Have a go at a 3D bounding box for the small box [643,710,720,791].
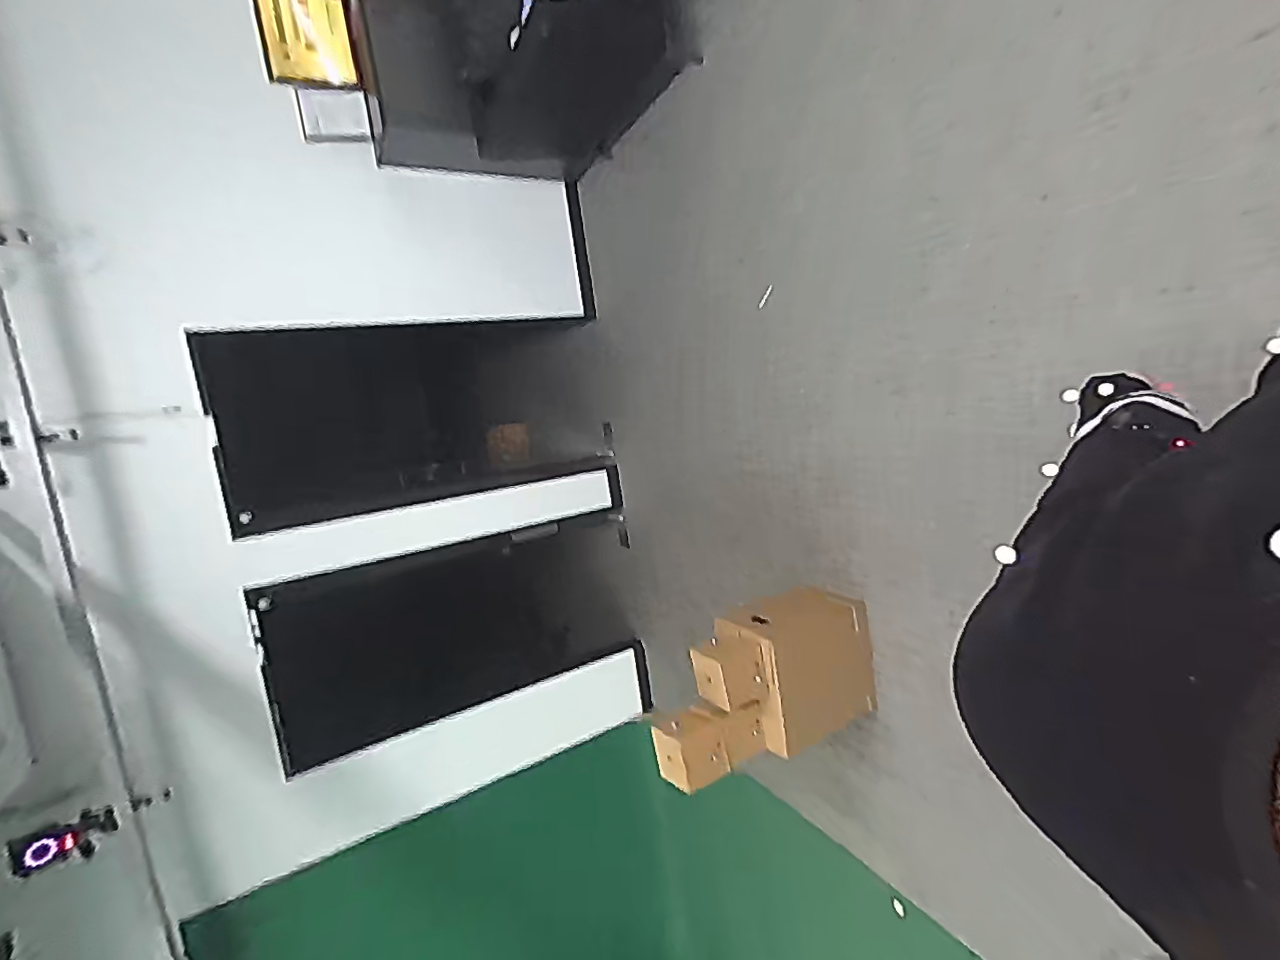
[{"bbox_3d":[0.136,0.875,1.773,0.179,0.176,0.168,-15,86,59],"label":"small box"}]
